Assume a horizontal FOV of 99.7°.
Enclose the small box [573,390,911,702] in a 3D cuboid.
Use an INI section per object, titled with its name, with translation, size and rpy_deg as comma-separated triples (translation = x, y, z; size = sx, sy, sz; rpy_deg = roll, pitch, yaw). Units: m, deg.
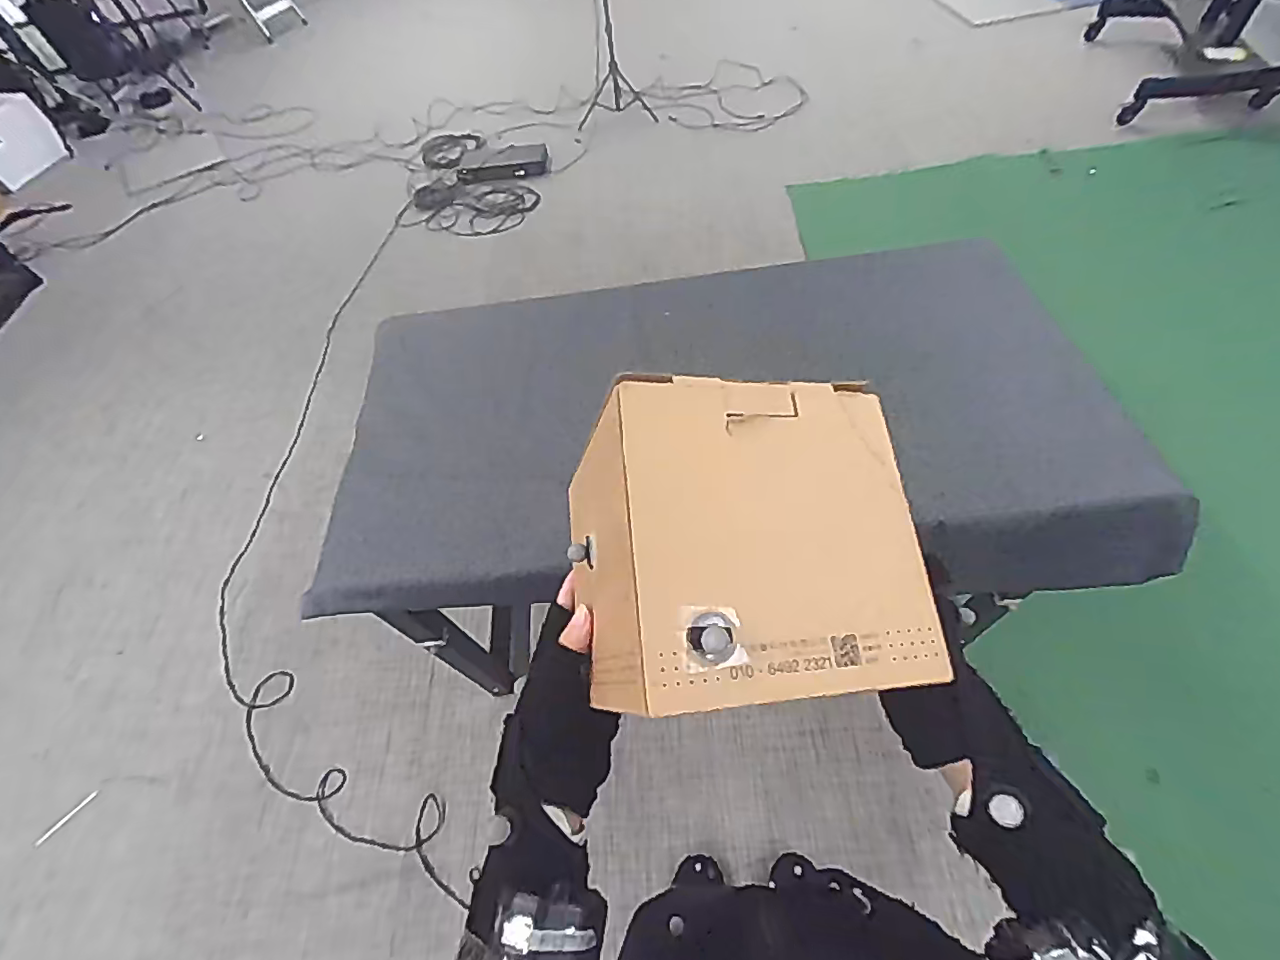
[small box]
translation = 0.051, 0.055, 0.376
size = 0.168, 0.179, 0.176
rpy_deg = 1, 69, -16
